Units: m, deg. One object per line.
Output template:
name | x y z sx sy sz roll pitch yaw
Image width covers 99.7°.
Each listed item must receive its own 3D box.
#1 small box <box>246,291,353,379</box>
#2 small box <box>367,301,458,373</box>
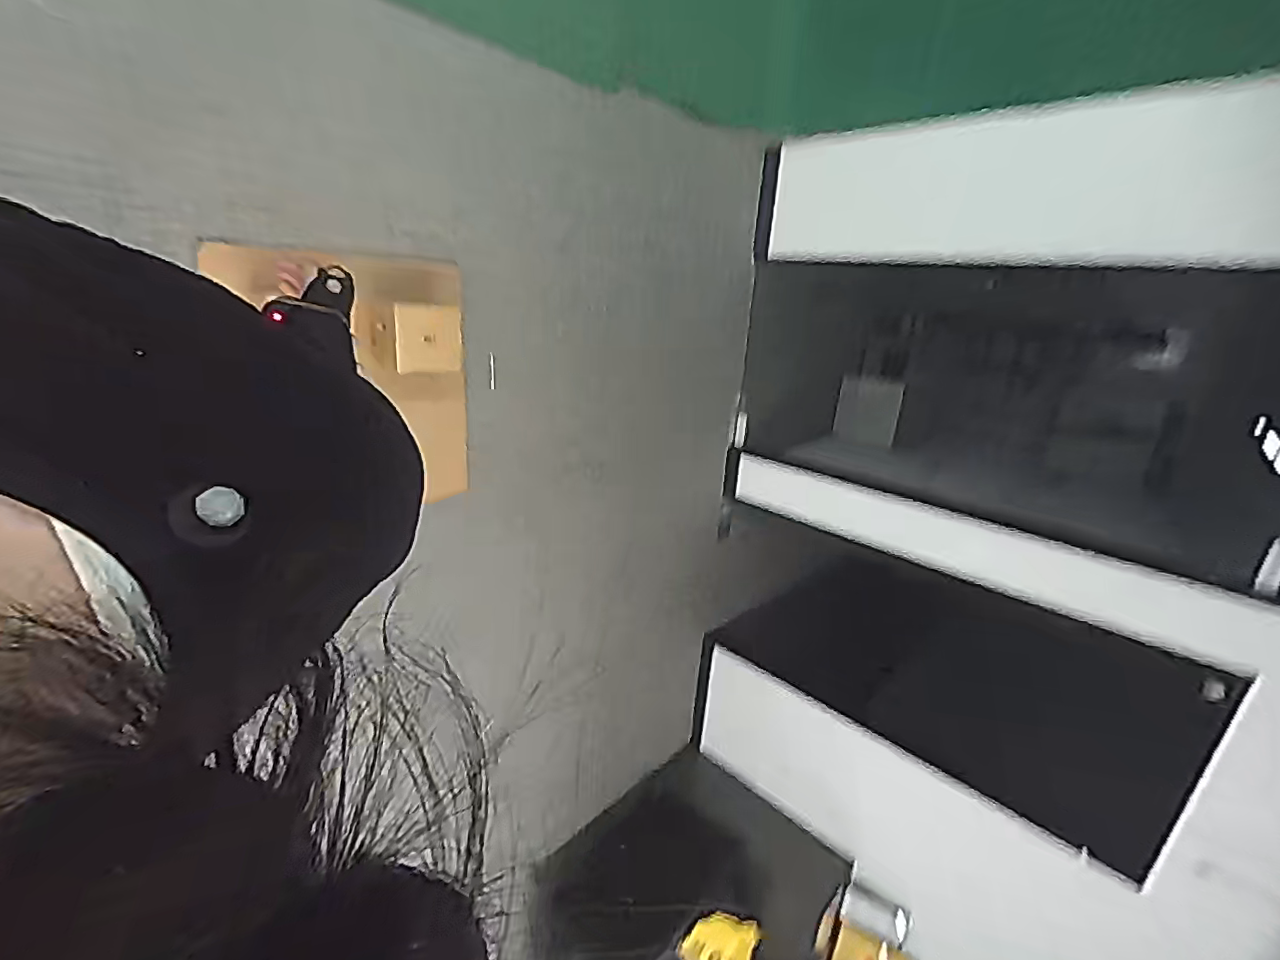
small box | -0.780 -0.331 1.234 0.179 0.176 0.168 -8 113 -48
small box | -0.602 -0.377 1.425 0.179 0.176 0.168 -13 116 -47
